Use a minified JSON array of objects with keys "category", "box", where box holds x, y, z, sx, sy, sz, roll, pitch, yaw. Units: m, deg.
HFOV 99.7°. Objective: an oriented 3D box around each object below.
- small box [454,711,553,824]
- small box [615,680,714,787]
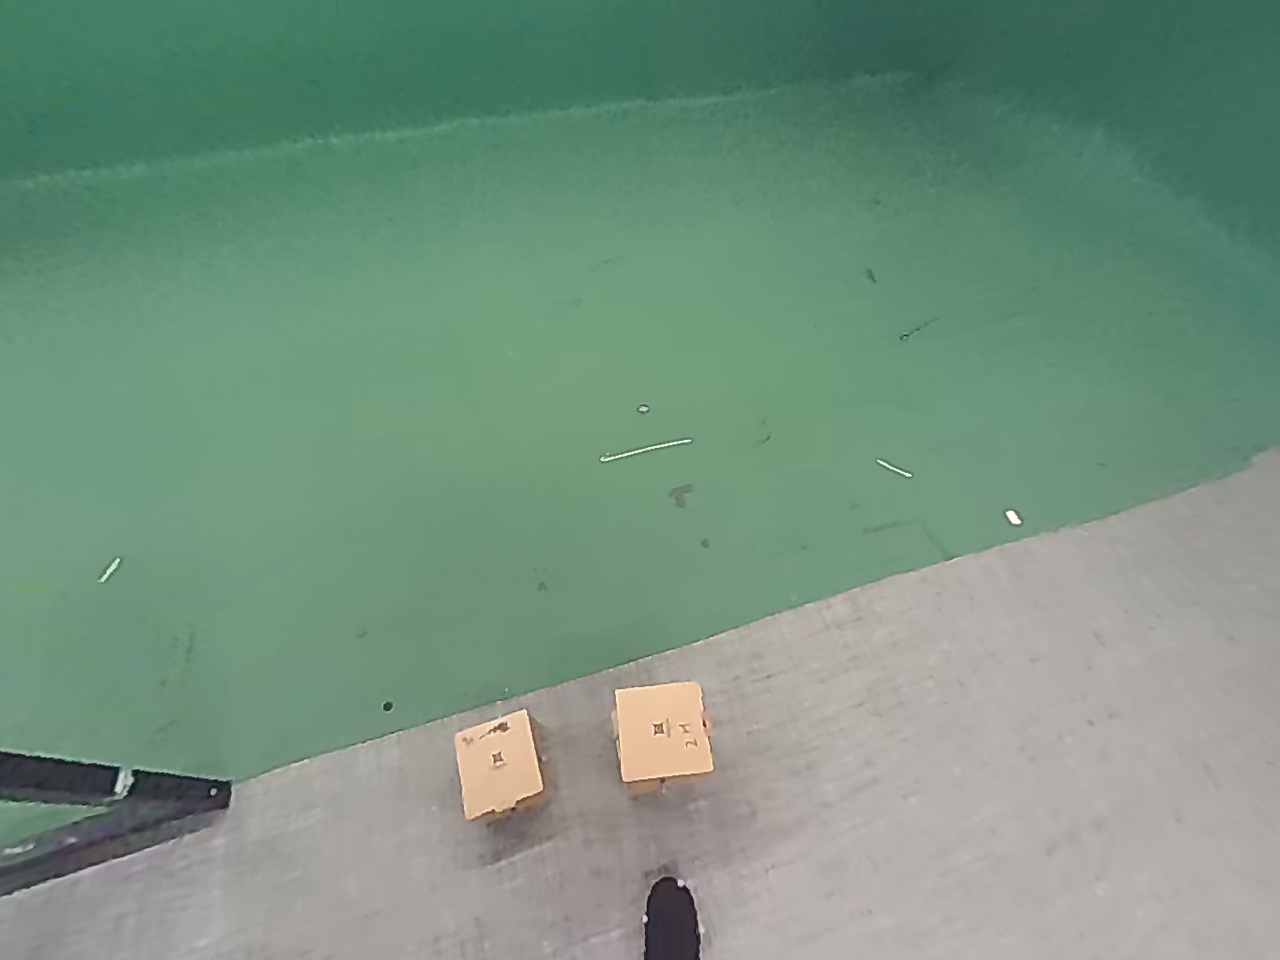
[{"category":"small box","box":[-0.300,0.646,1.211,0.168,0.176,0.179,-16,57,-10]},{"category":"small box","box":[0.044,0.518,1.099,0.179,0.176,0.168,-5,57,-4]}]
